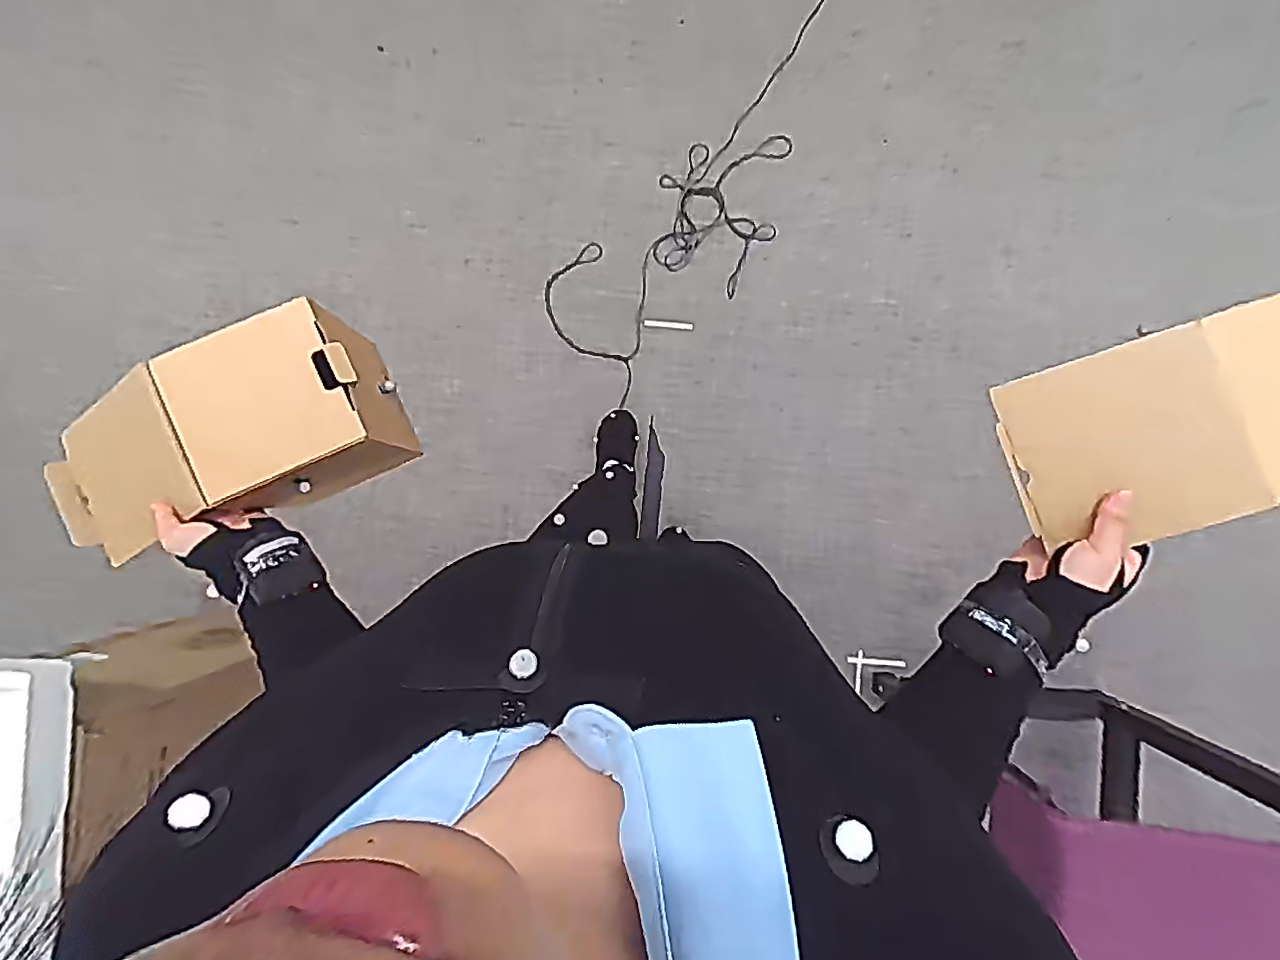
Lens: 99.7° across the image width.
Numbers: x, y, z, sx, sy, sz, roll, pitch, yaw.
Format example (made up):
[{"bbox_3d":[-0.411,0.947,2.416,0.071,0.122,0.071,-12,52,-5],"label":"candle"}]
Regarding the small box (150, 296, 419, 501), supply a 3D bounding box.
[{"bbox_3d":[-0.396,-0.080,0.635,0.179,0.176,0.168,-25,88,-4],"label":"small box"}]
